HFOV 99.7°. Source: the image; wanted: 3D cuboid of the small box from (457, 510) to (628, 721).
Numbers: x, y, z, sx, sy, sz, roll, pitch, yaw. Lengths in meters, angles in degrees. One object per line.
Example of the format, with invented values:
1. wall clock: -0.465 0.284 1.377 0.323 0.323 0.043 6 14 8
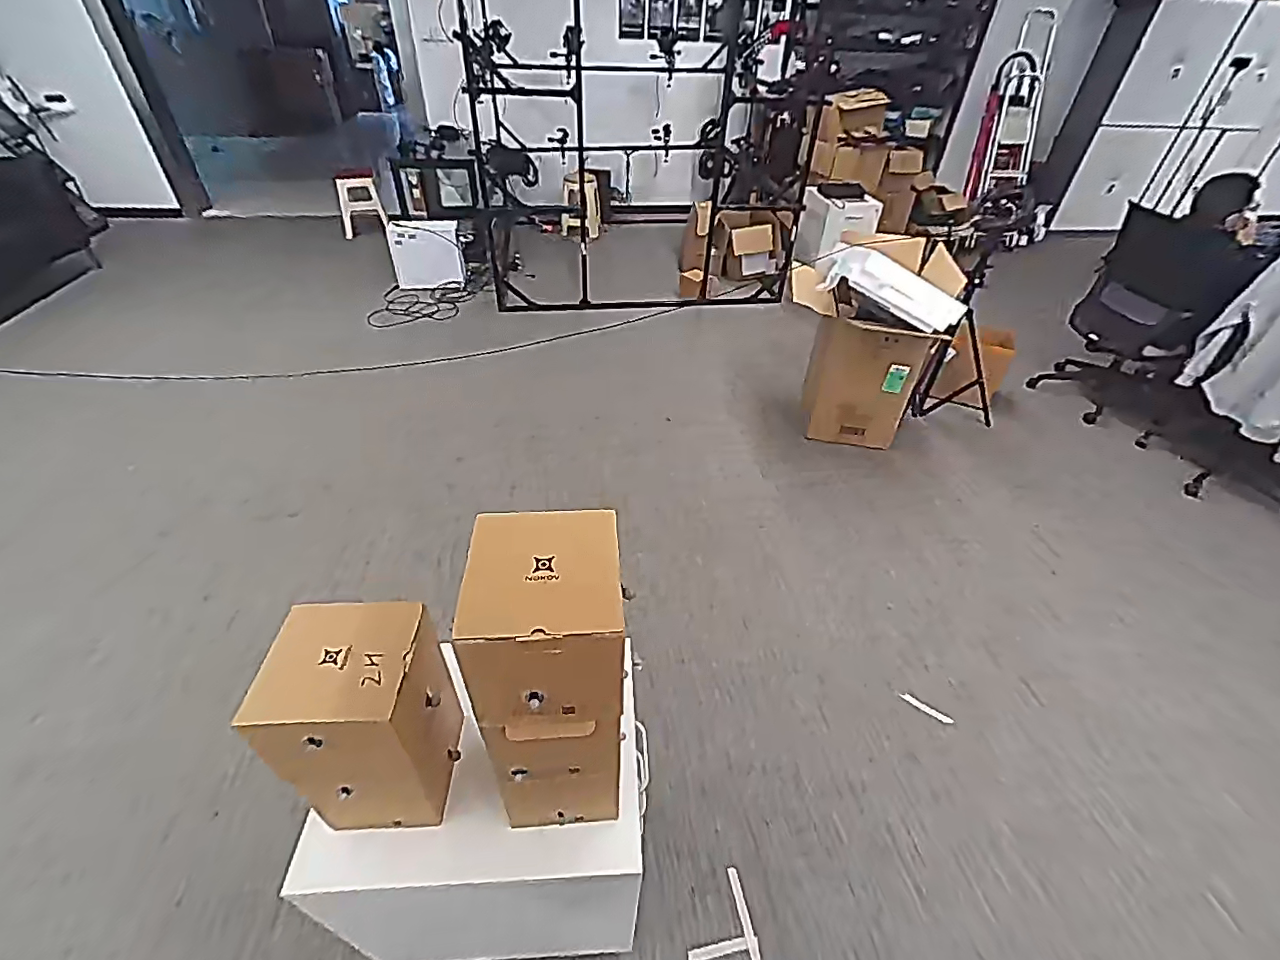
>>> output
1. small box: -0.103 0.155 0.630 0.168 0.176 0.179 -1 41 -5

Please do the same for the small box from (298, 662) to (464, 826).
1. small box: -0.378 0.401 0.828 0.168 0.176 0.179 0 39 -3

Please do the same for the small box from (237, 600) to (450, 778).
1. small box: -0.371 0.278 0.718 0.179 0.176 0.168 0 41 -4

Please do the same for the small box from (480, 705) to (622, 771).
1. small box: -0.111 0.277 0.737 0.168 0.176 0.179 -2 40 -5
